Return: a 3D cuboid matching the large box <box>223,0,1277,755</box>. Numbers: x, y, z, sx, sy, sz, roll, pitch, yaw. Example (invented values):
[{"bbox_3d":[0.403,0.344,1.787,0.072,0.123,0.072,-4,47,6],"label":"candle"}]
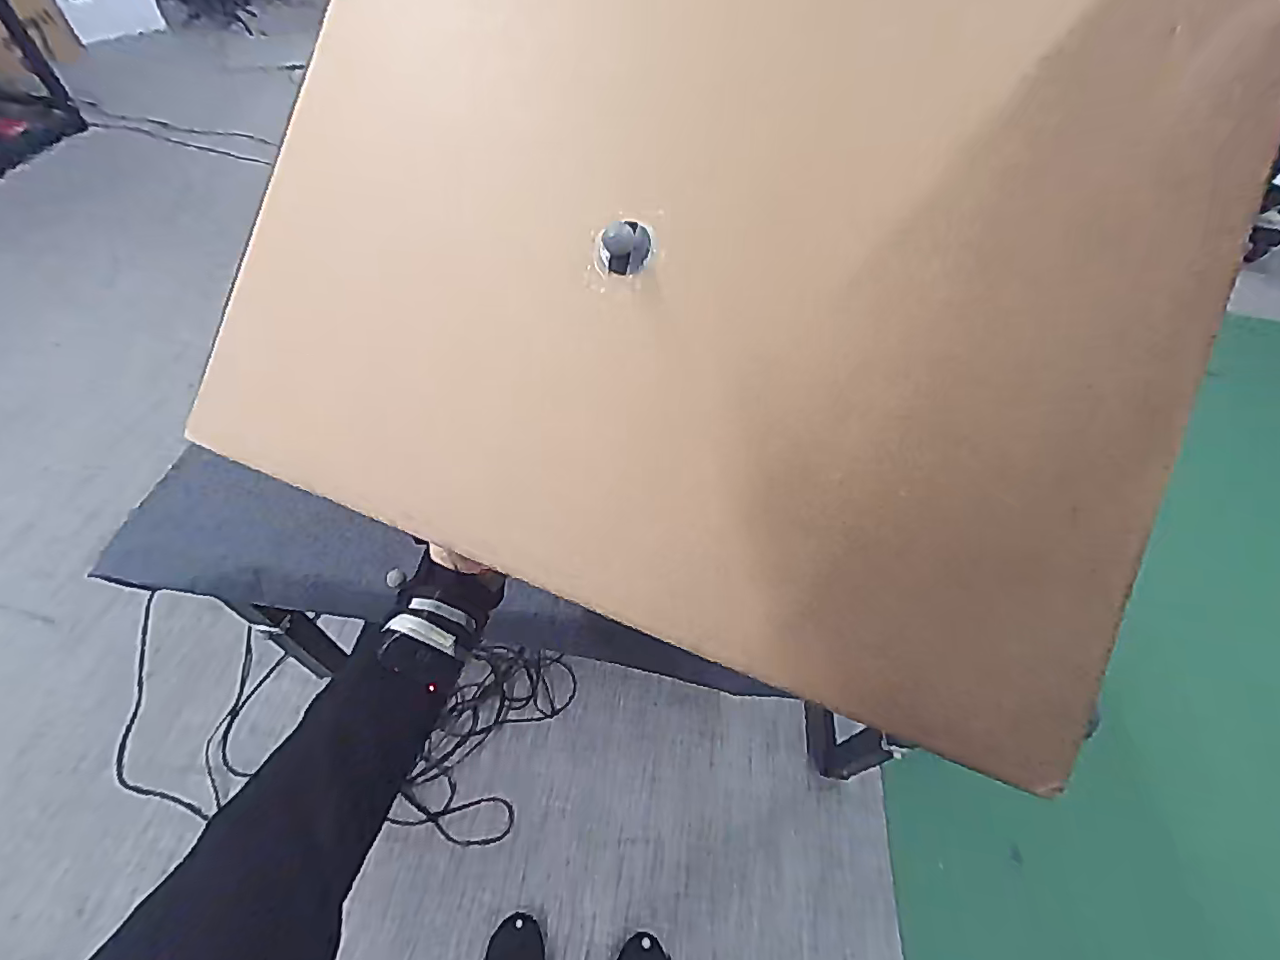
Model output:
[{"bbox_3d":[0.036,-0.083,0.381,0.408,0.320,0.320,17,89,14],"label":"large box"}]
